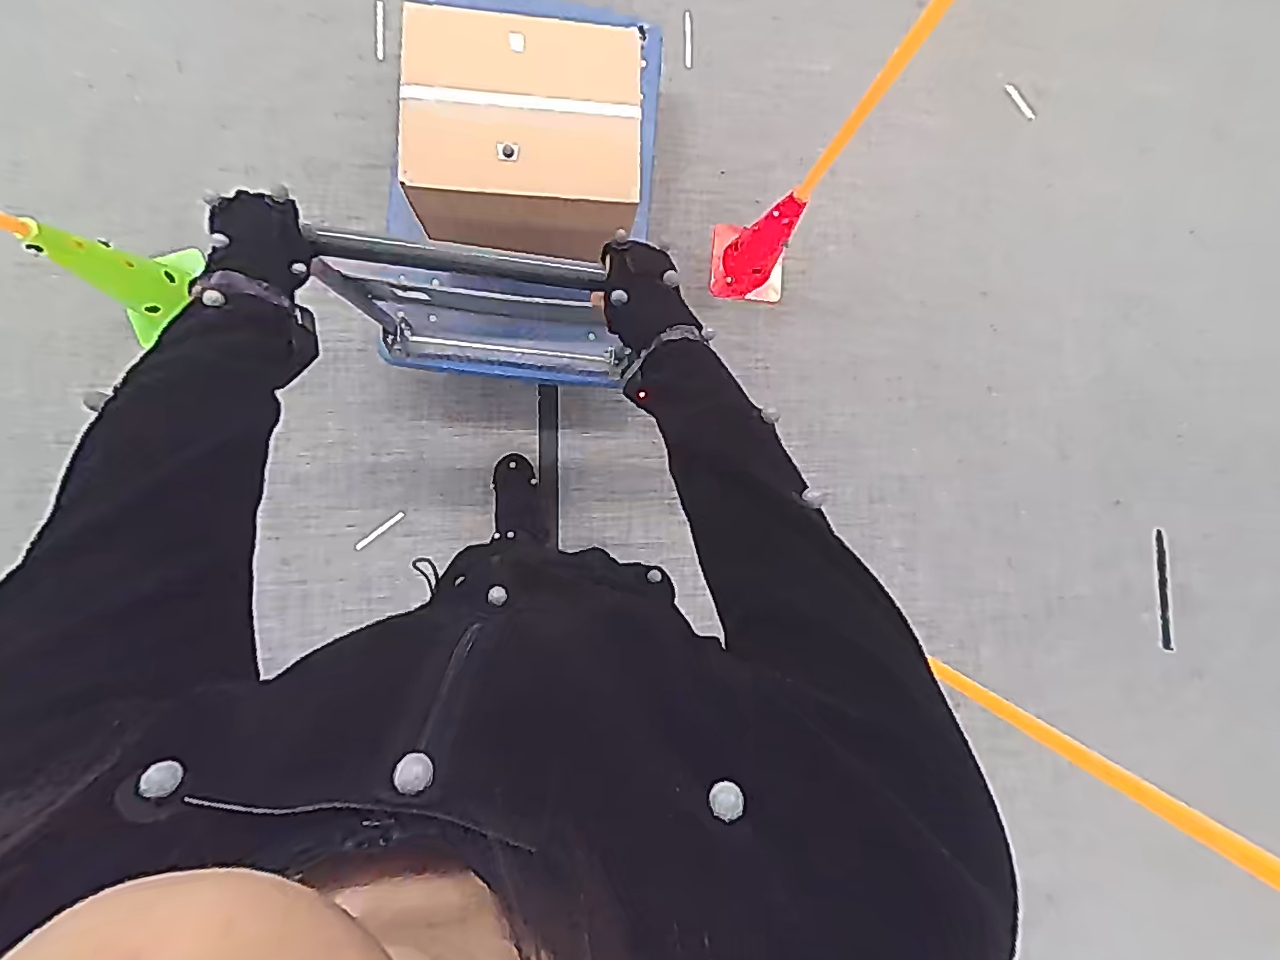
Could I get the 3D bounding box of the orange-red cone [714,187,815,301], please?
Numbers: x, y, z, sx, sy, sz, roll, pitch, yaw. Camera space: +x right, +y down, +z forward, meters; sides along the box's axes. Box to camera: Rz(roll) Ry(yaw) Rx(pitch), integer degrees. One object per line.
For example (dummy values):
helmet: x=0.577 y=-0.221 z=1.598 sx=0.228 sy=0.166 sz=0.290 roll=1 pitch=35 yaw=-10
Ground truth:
orange-red cone: x=0.330 y=-0.598 z=1.310 sx=0.199 sy=0.360 sz=0.198 roll=5 pitch=89 yaw=-9
